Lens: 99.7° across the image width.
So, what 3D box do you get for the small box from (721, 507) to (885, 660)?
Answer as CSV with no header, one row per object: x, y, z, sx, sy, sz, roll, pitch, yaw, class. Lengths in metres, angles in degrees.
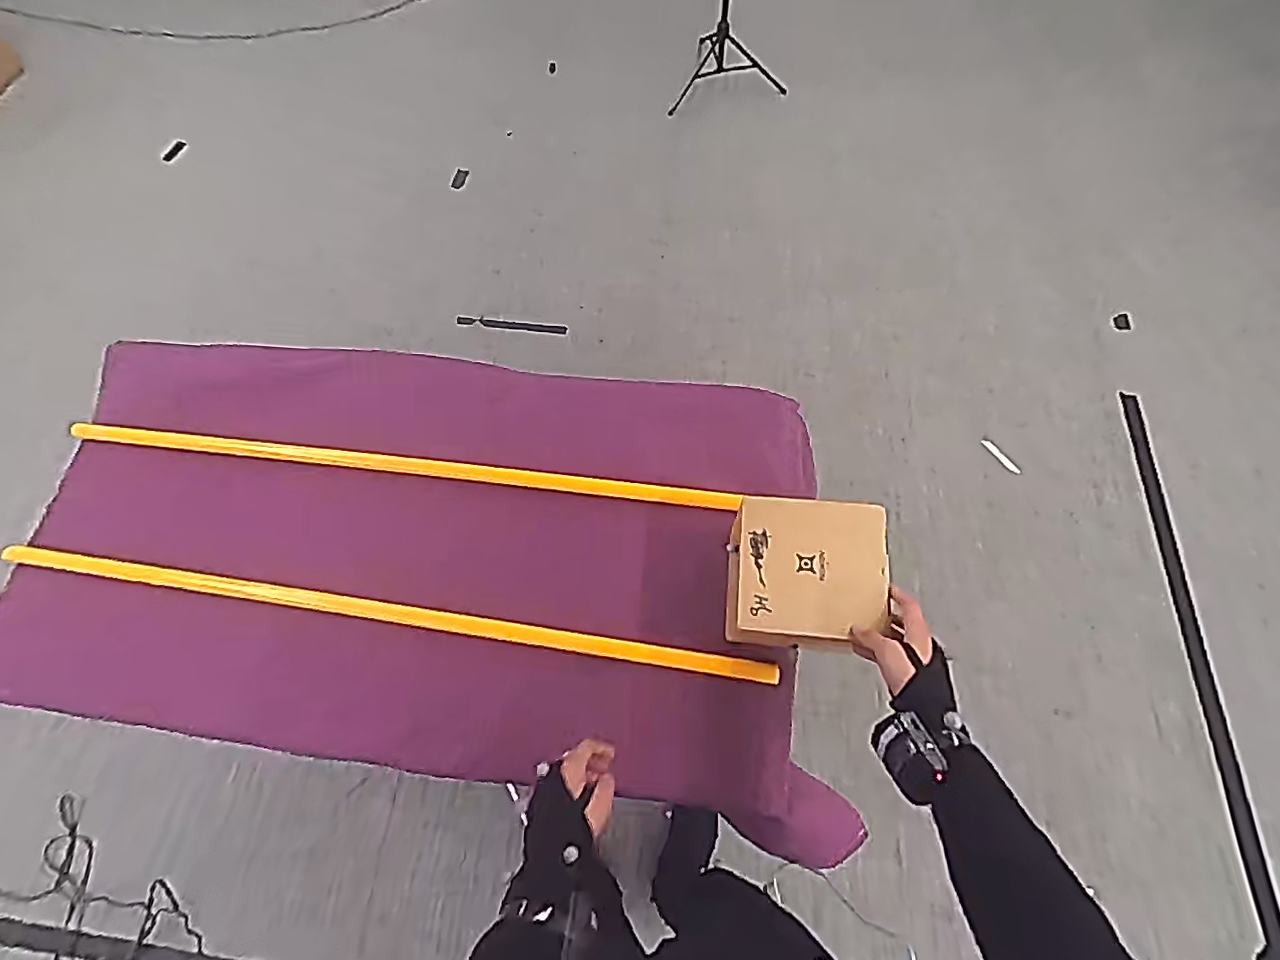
0.208,0.146,0.724,0.179,0.176,0.168,5,70,6,small box
